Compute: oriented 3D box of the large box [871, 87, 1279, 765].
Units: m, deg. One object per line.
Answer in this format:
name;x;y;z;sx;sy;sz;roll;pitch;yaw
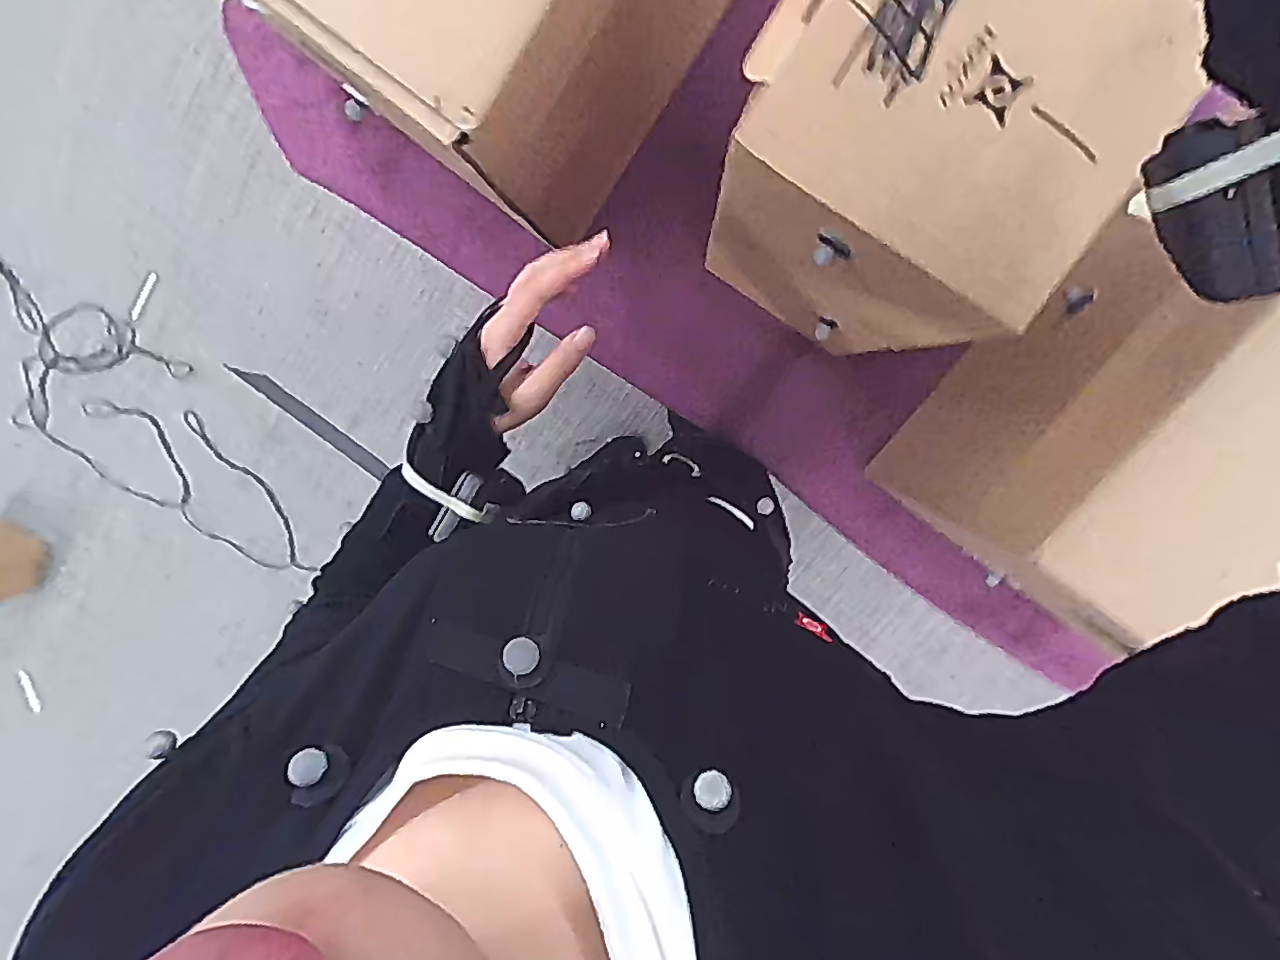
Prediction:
large box;0.472;-0.042;0.426;0.320;0.320;0.408;36;100;-3
